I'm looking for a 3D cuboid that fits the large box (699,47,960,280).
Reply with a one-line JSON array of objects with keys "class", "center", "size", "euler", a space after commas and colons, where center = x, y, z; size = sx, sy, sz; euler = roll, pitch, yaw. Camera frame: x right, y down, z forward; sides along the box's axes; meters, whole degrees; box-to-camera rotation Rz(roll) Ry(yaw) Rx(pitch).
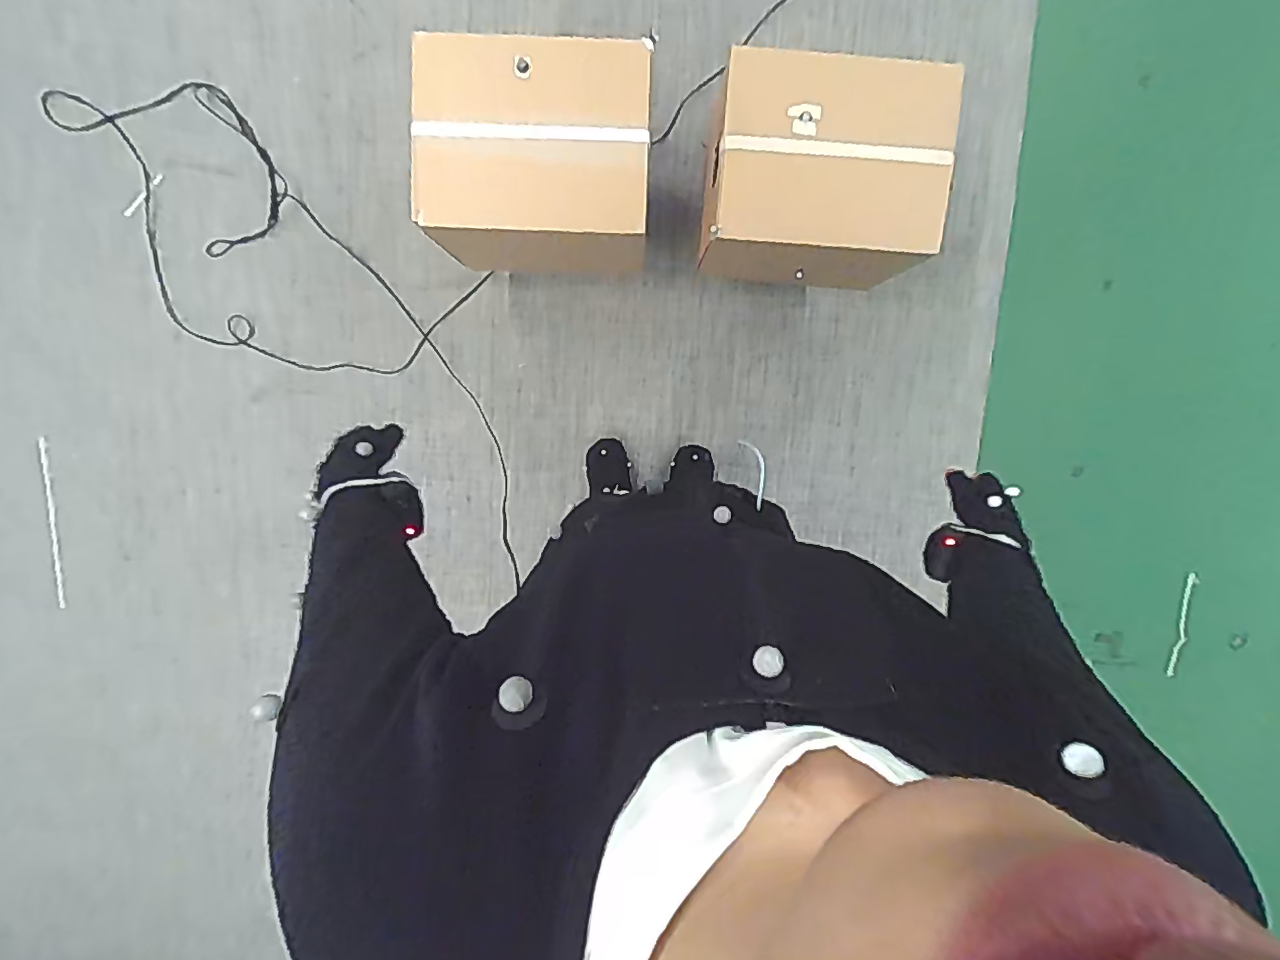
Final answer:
[{"class": "large box", "center": [0.346, -0.603, 1.095], "size": [0.408, 0.320, 0.320], "euler": [4, 98, -1]}]
